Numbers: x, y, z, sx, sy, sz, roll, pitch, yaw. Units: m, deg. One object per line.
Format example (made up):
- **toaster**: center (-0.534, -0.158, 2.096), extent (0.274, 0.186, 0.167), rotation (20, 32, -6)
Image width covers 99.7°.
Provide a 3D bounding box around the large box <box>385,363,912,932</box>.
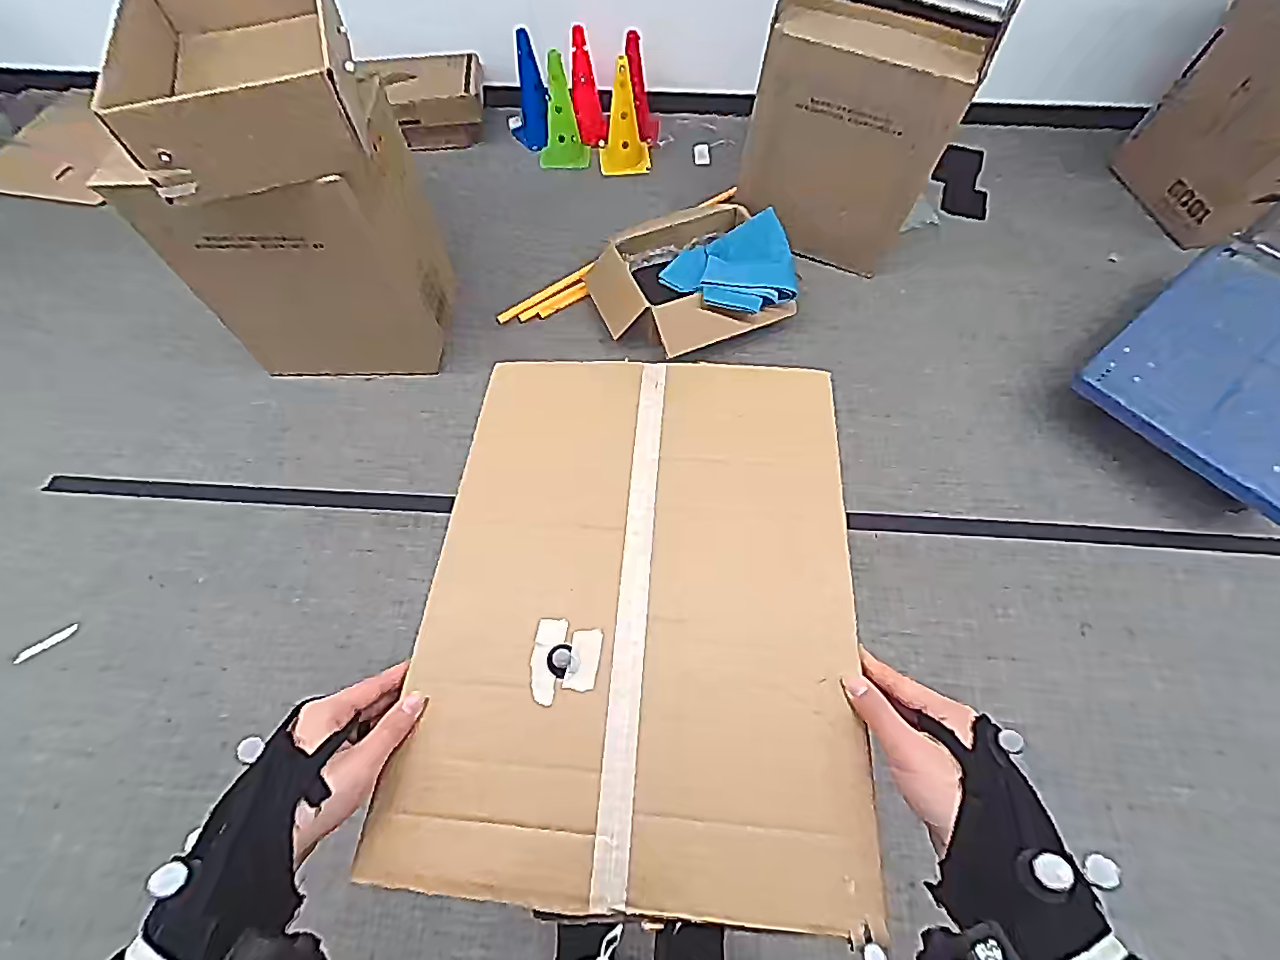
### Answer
- **large box**: center (0.017, 0.140, 0.532), extent (0.320, 0.320, 0.408), rotation (2, 61, 6)
